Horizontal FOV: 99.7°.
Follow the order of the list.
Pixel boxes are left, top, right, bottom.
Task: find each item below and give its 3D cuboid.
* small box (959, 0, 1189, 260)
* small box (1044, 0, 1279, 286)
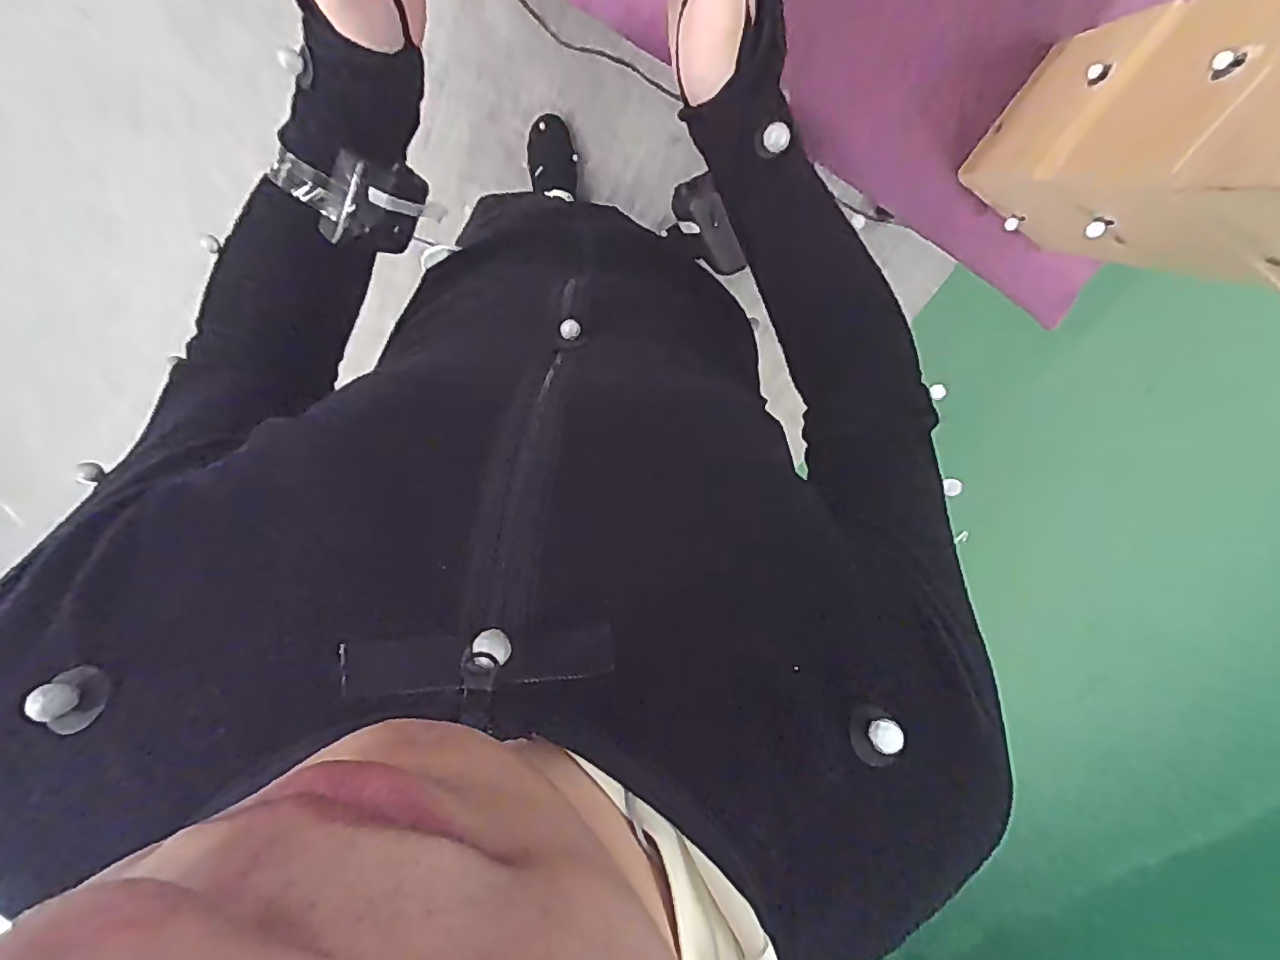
[{"bbox_3d":[0.517,-0.382,0.614,0.179,0.176,0.168,28,116,-14],"label":"small box"},{"bbox_3d":[0.518,-0.303,0.471,0.168,0.176,0.179,29,117,-13],"label":"small box"}]
